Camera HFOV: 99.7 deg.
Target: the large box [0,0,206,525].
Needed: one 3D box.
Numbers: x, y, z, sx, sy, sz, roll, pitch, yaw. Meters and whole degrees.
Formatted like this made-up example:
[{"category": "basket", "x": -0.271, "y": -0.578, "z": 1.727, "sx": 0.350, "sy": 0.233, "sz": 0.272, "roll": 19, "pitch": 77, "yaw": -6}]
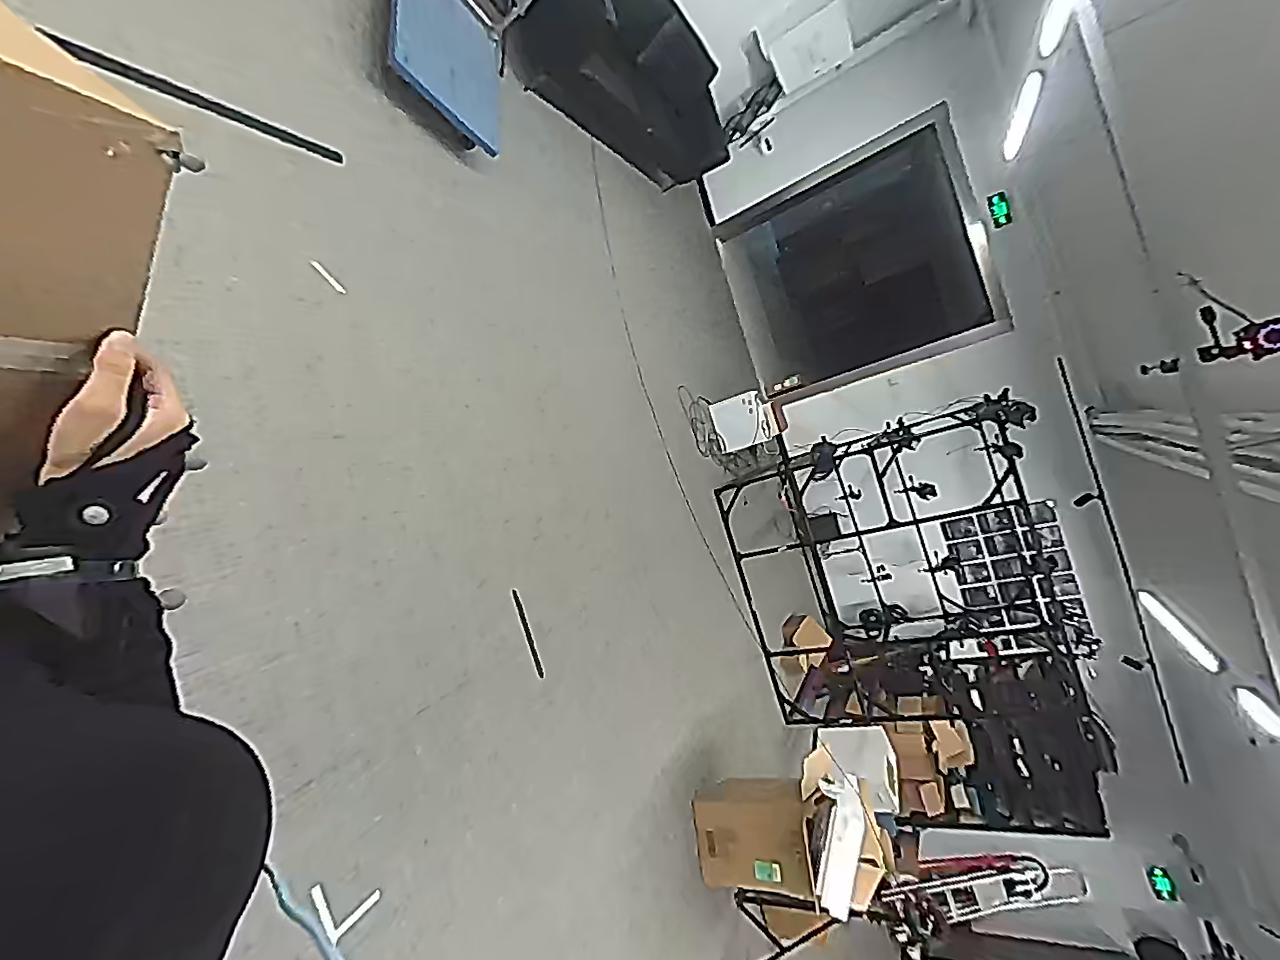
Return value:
[{"category": "large box", "x": -0.531, "y": -0.166, "z": 0.240, "sx": 0.320, "sy": 0.320, "sz": 0.408, "roll": 38, "pitch": 19, "yaw": 18}]
